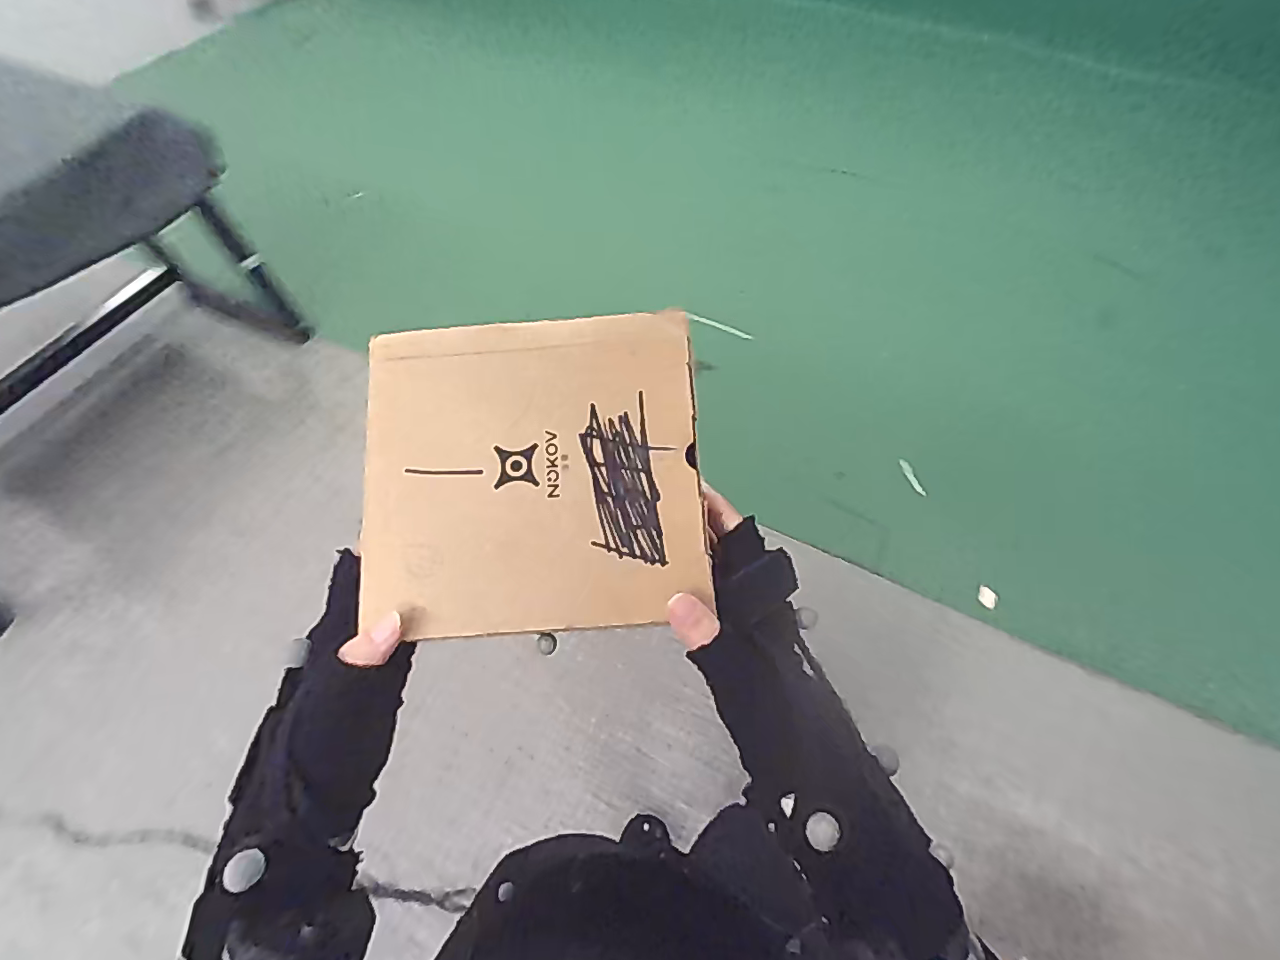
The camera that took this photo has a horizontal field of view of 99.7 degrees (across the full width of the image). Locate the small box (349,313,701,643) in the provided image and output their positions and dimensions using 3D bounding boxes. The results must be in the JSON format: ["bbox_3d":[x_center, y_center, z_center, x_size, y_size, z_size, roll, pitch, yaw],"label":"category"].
[{"bbox_3d":[-0.062,0.010,0.359,0.179,0.176,0.168,-6,77,0],"label":"small box"}]
